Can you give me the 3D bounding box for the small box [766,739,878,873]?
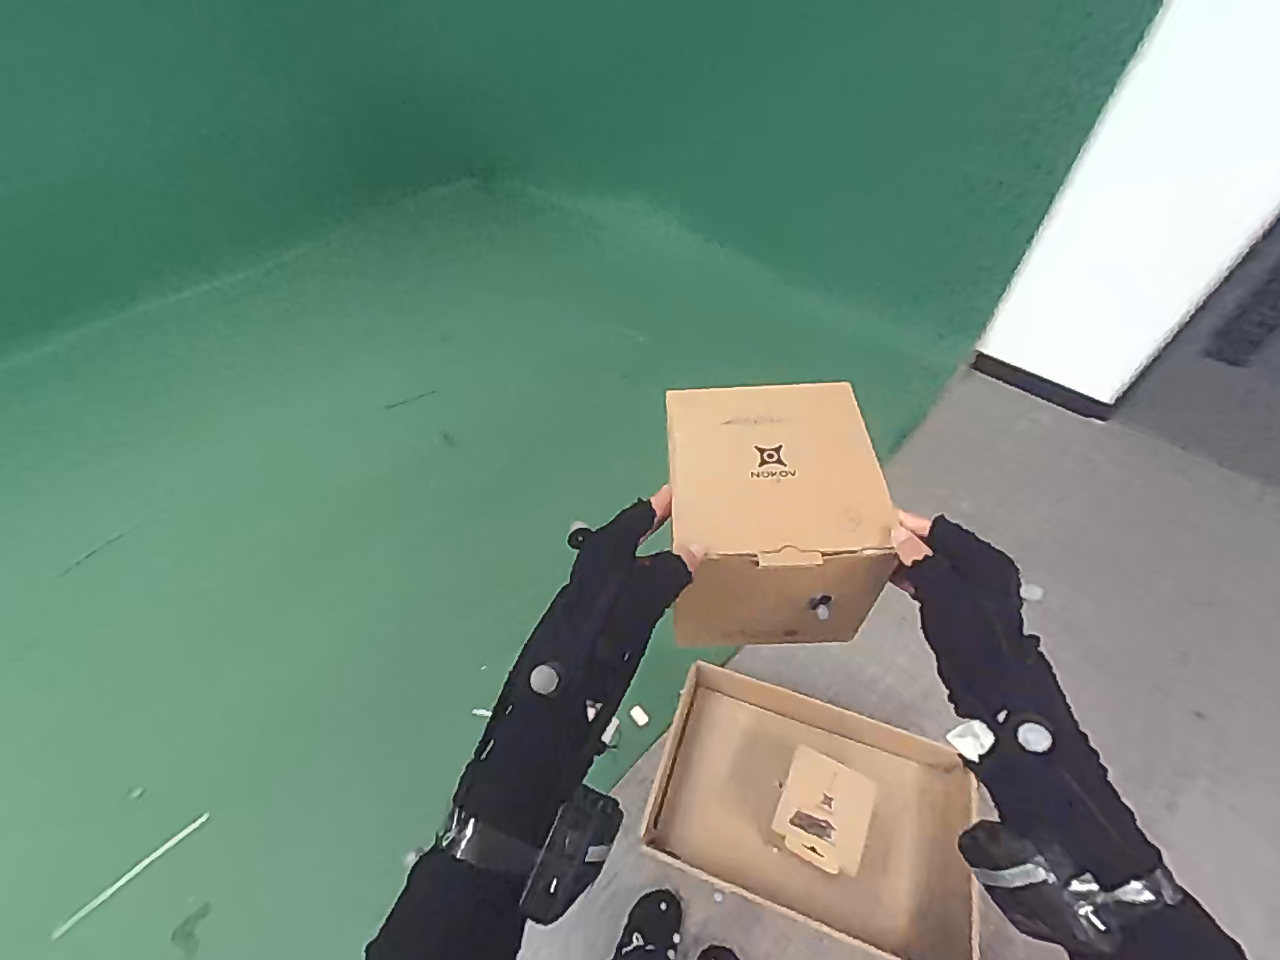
[{"bbox_3d":[0.371,0.684,1.128,0.168,0.176,0.179,21,54,20],"label":"small box"}]
